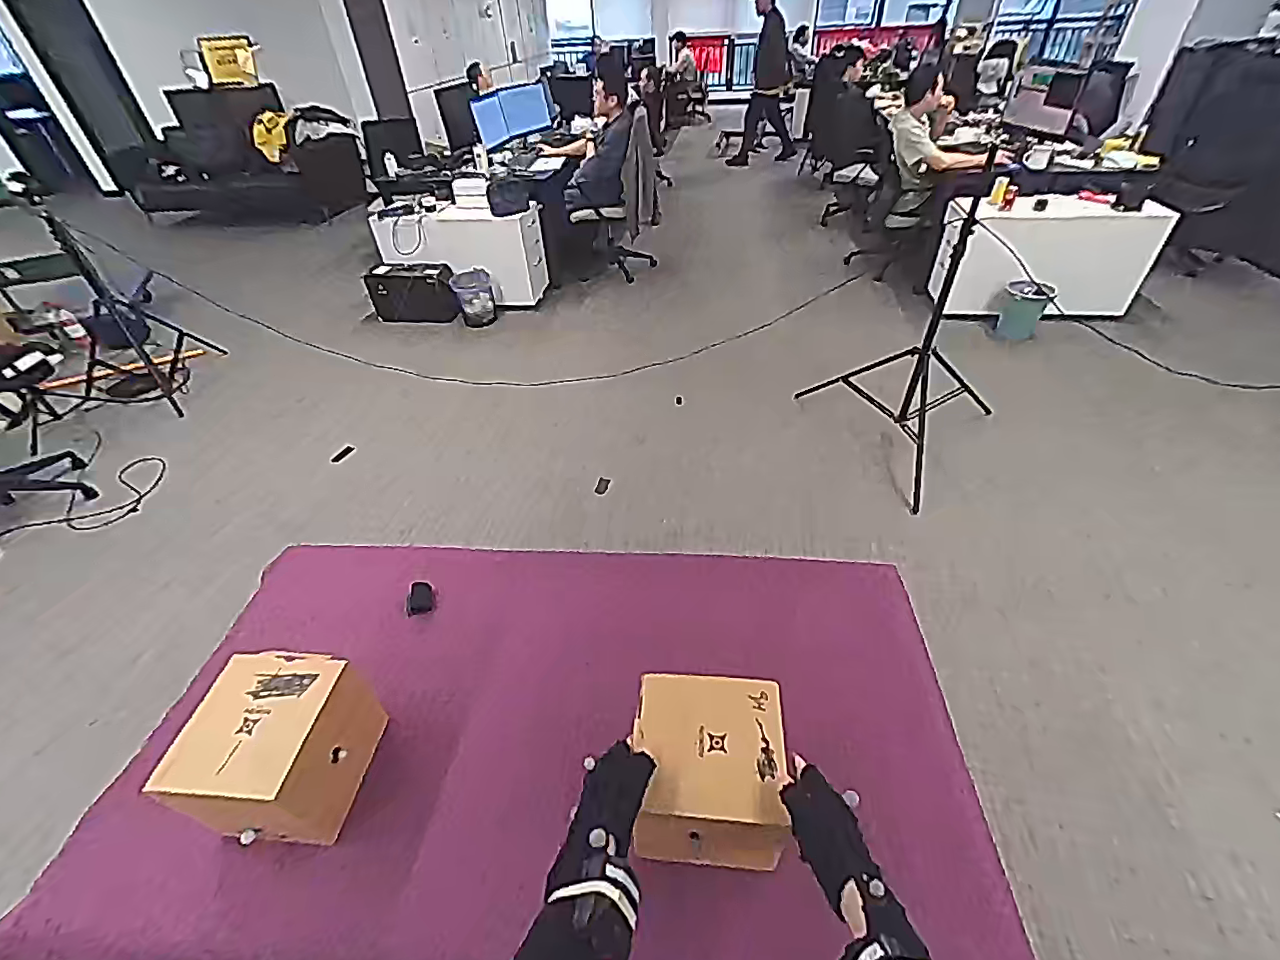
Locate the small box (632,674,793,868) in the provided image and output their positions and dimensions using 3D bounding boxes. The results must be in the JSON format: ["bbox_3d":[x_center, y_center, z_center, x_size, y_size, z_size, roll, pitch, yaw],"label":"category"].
[{"bbox_3d":[0.089,0.371,0.690,0.179,0.176,0.168,2,41,6],"label":"small box"}]

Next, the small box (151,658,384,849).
[{"bbox_3d":[-0.476,0.367,0.731,0.168,0.176,0.179,1,41,5],"label":"small box"}]
